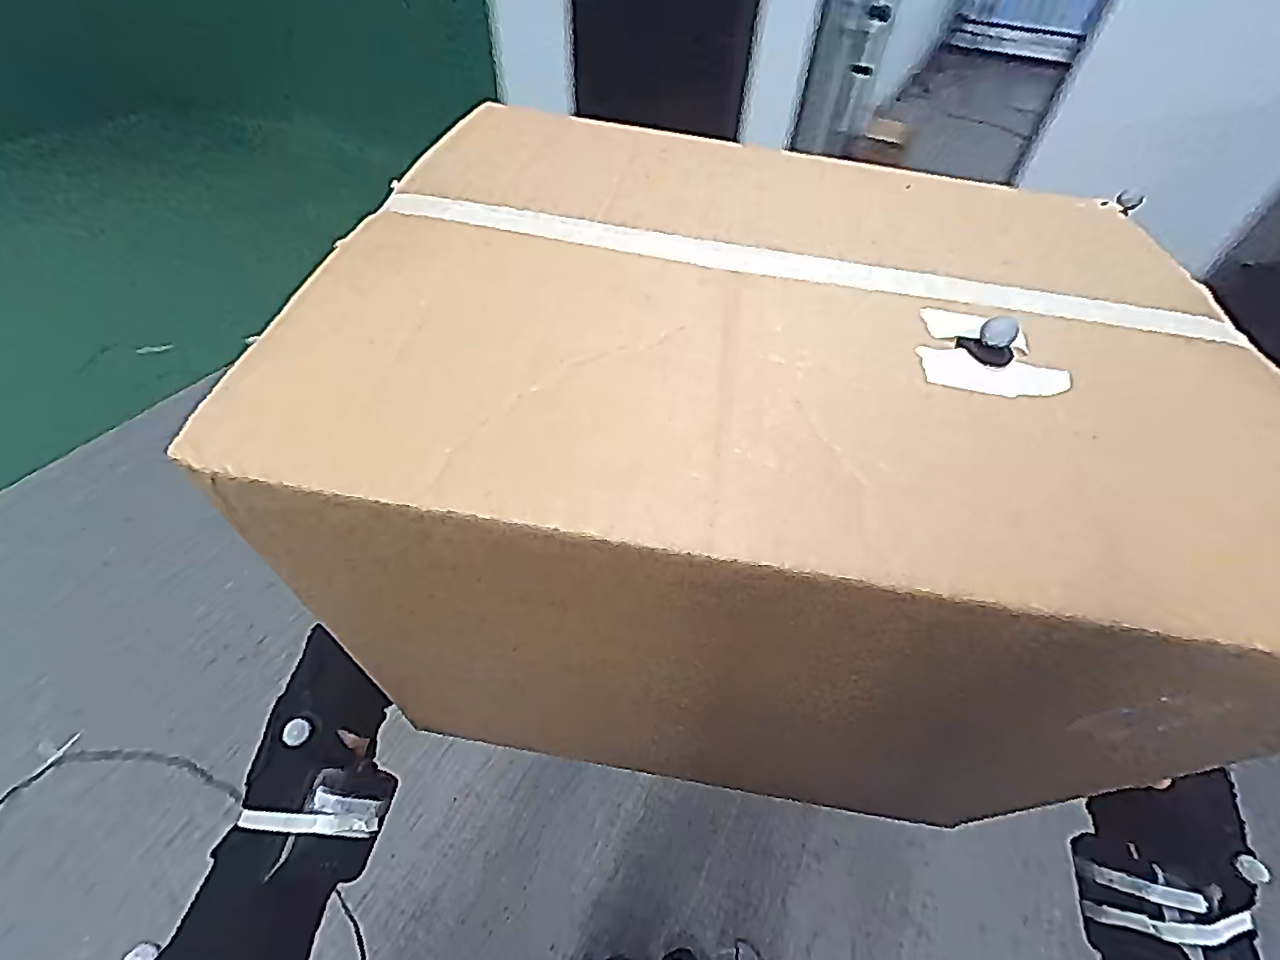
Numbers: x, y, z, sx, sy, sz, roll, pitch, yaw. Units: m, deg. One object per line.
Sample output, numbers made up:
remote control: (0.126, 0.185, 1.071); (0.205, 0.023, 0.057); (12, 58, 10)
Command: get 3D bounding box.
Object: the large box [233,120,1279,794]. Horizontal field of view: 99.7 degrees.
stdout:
large box: (0.063, -0.001, 0.383); (0.408, 0.320, 0.320); (9, 52, 0)
